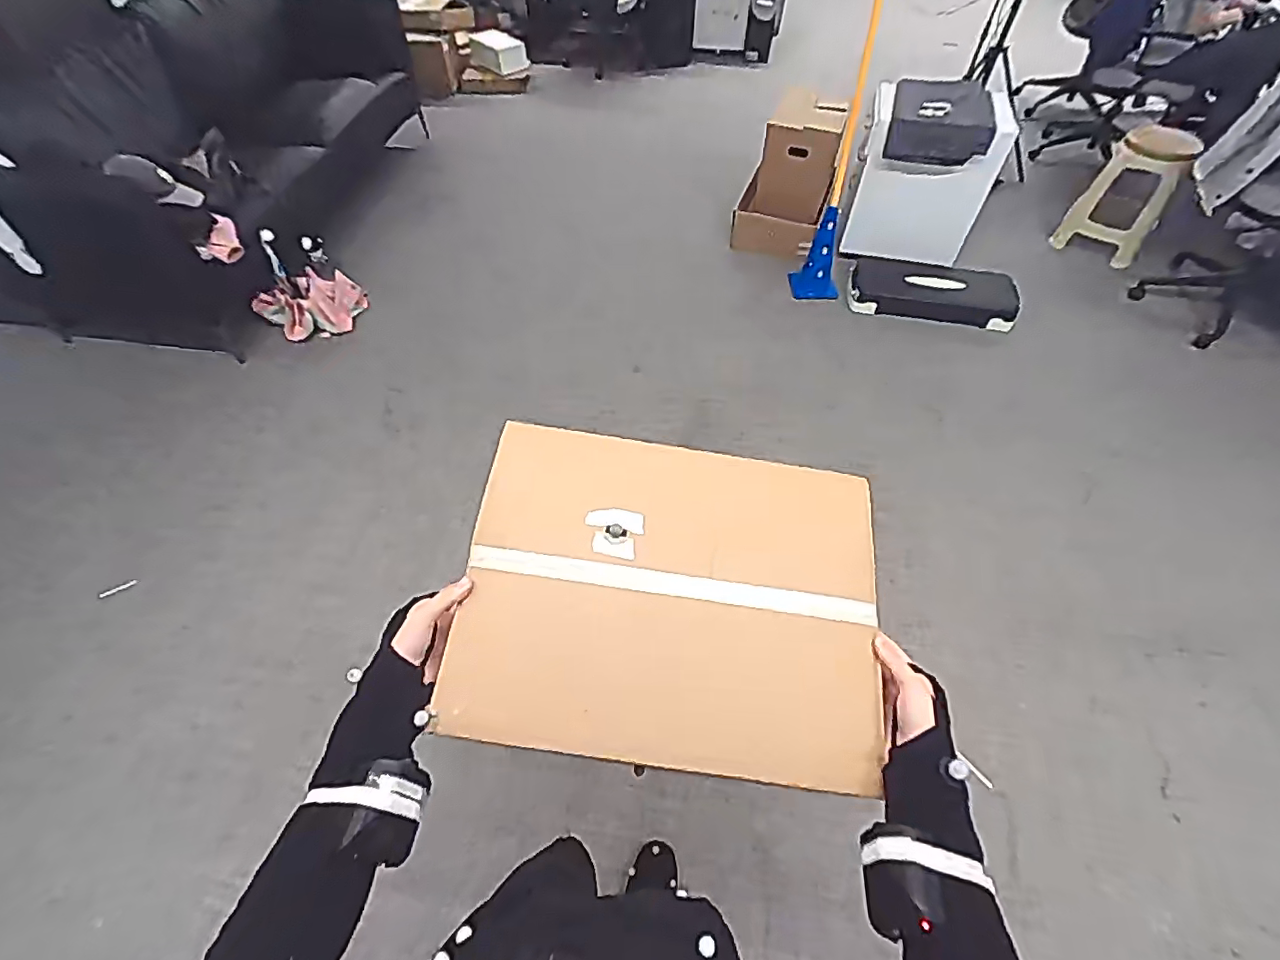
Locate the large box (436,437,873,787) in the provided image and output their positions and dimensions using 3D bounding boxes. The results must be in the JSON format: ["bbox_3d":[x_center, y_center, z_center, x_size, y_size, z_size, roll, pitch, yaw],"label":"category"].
[{"bbox_3d":[0.022,0.176,0.680,0.408,0.320,0.320,8,63,-1],"label":"large box"}]
